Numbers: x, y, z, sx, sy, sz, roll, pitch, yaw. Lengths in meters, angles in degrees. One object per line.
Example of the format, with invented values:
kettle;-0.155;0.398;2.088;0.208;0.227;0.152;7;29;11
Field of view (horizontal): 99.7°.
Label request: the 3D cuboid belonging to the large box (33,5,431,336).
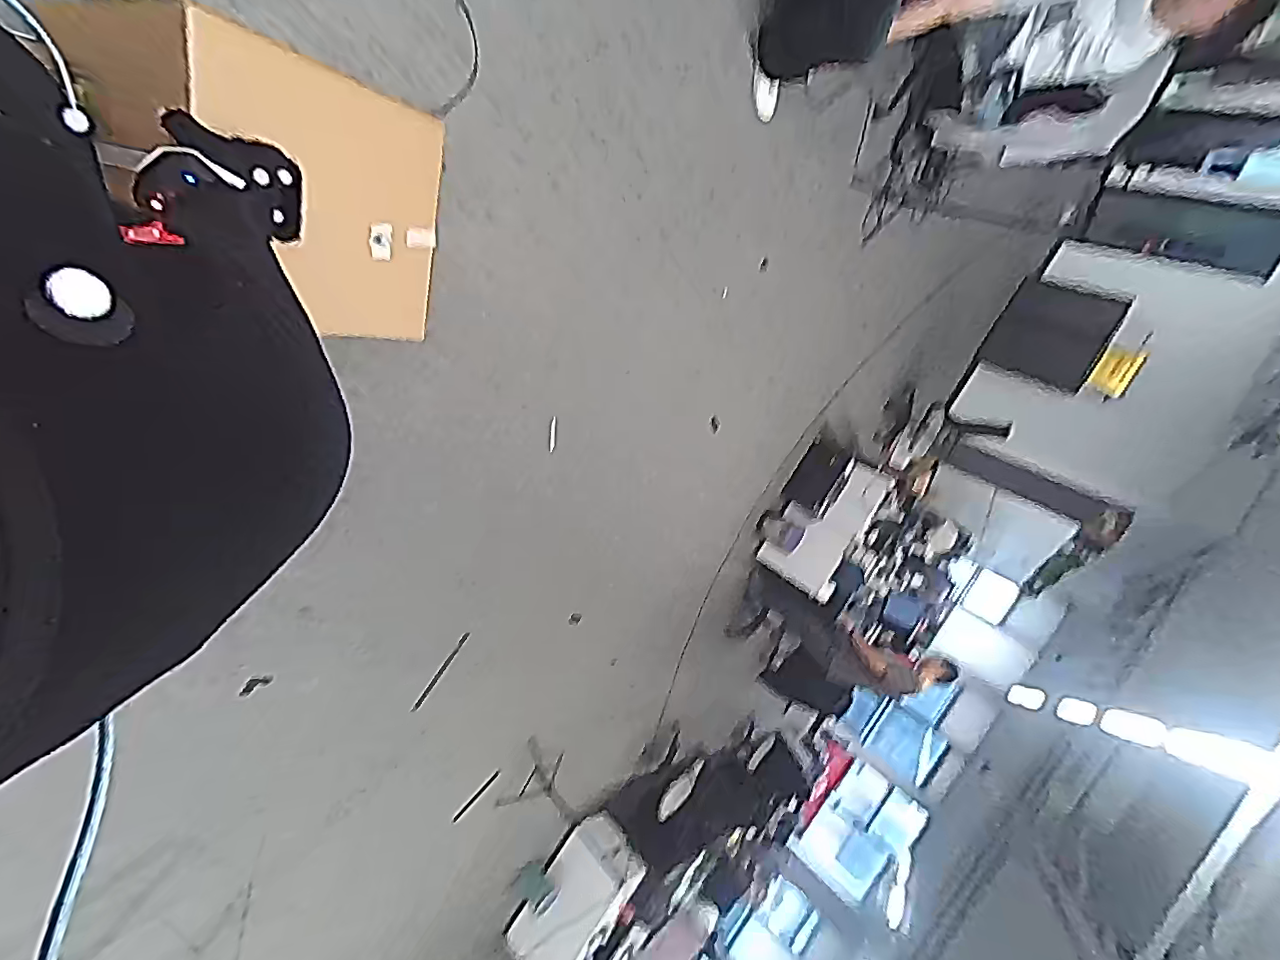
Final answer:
large box;-0.563;-0.409;0.776;0.320;0.408;0.320;-17;126;-58
